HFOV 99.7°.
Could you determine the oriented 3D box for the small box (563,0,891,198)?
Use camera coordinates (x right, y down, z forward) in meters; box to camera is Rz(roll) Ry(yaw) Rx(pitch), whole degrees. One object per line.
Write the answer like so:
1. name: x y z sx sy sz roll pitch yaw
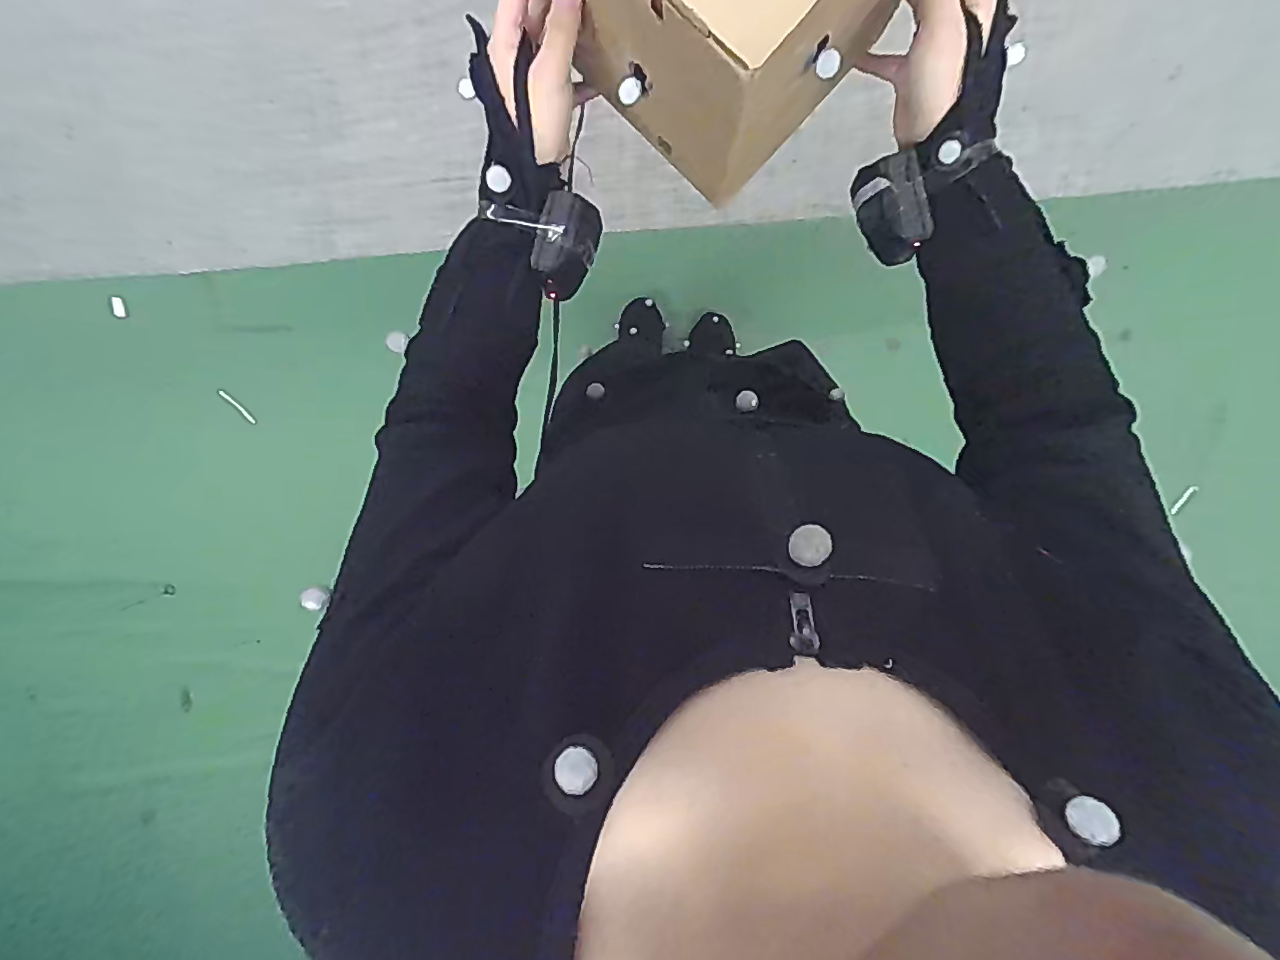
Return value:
1. small box: 0.060 -0.324 0.342 0.168 0.176 0.179 44 97 -1
